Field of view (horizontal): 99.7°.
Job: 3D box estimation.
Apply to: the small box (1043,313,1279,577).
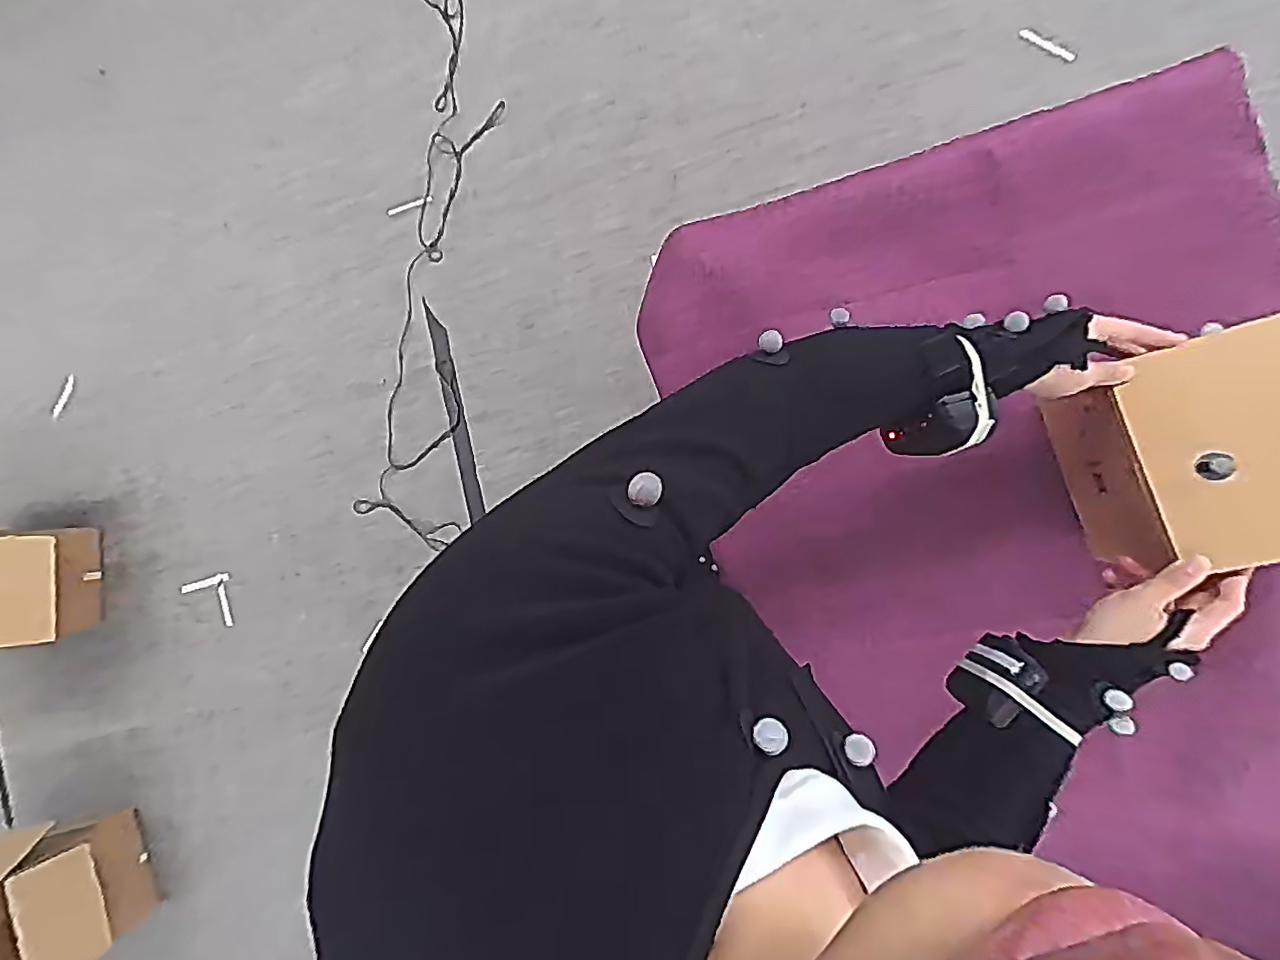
[{"bbox_3d":[0.491,-0.030,0.459,0.176,0.168,0.179,-17,82,20],"label":"small box"}]
